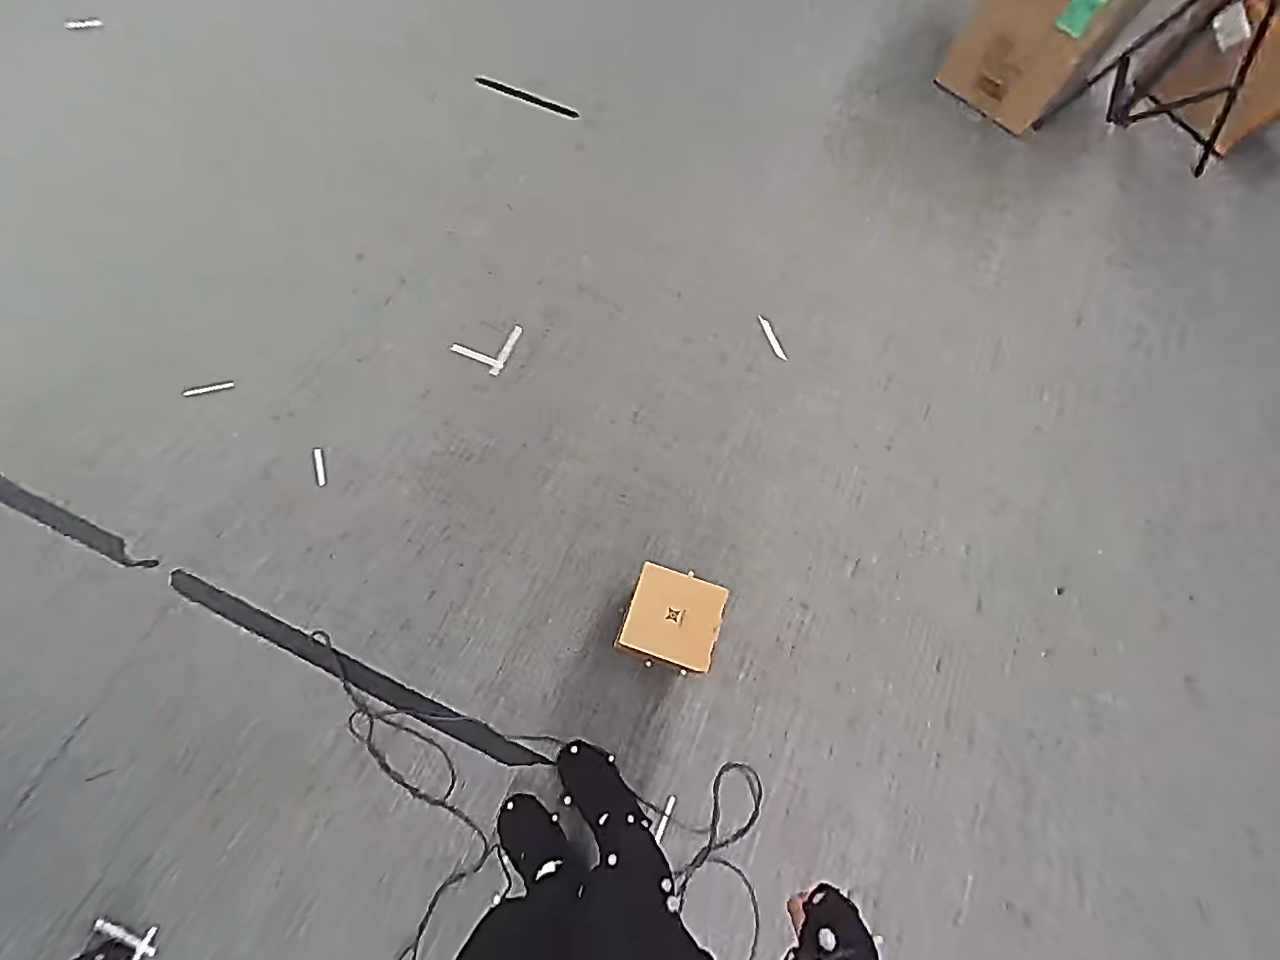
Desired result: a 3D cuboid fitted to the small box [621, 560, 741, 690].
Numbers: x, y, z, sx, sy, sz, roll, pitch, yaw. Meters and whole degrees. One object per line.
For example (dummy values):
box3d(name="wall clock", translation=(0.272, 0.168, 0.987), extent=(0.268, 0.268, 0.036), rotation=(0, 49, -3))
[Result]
box3d(name="small box", translation=(0.082, 0.285, 1.057), extent=(0.168, 0.176, 0.179), rotation=(24, 52, -14))
